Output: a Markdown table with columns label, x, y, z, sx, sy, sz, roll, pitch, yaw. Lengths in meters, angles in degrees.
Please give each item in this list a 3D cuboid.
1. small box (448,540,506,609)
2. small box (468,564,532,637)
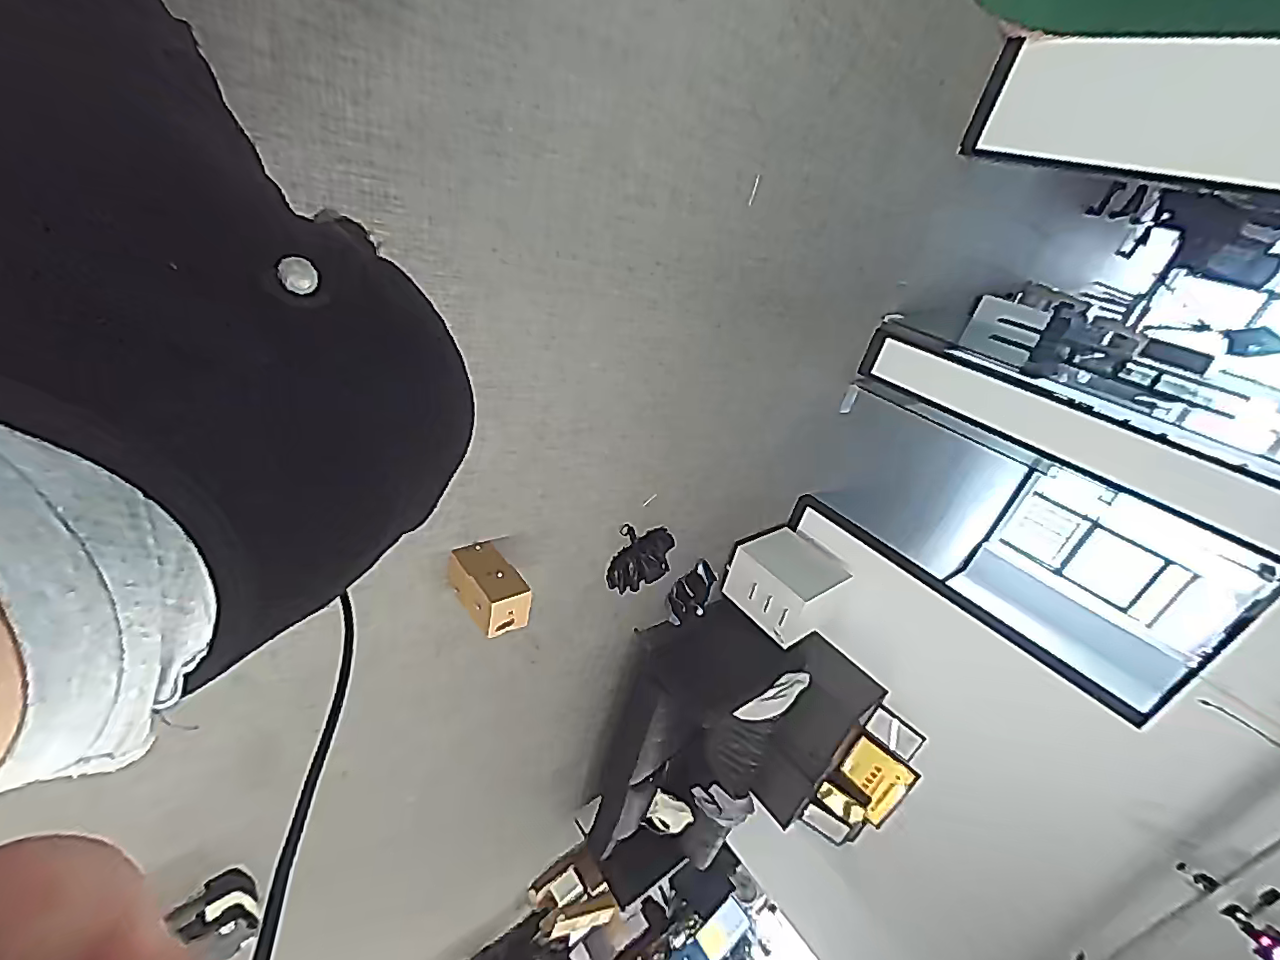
| label | x | y | z | sx | sy | sz | roll | pitch | yaw |
| --- | --- | --- | --- | --- | --- | --- | --- | --- | --- |
| small box | -0.637 | 0.365 | 2.108 | 0.168 | 0.176 | 0.179 | -15 | 129 | -40 |
| small box | -0.527 | 0.443 | 2.013 | 0.168 | 0.176 | 0.179 | -13 | 128 | -41 |
